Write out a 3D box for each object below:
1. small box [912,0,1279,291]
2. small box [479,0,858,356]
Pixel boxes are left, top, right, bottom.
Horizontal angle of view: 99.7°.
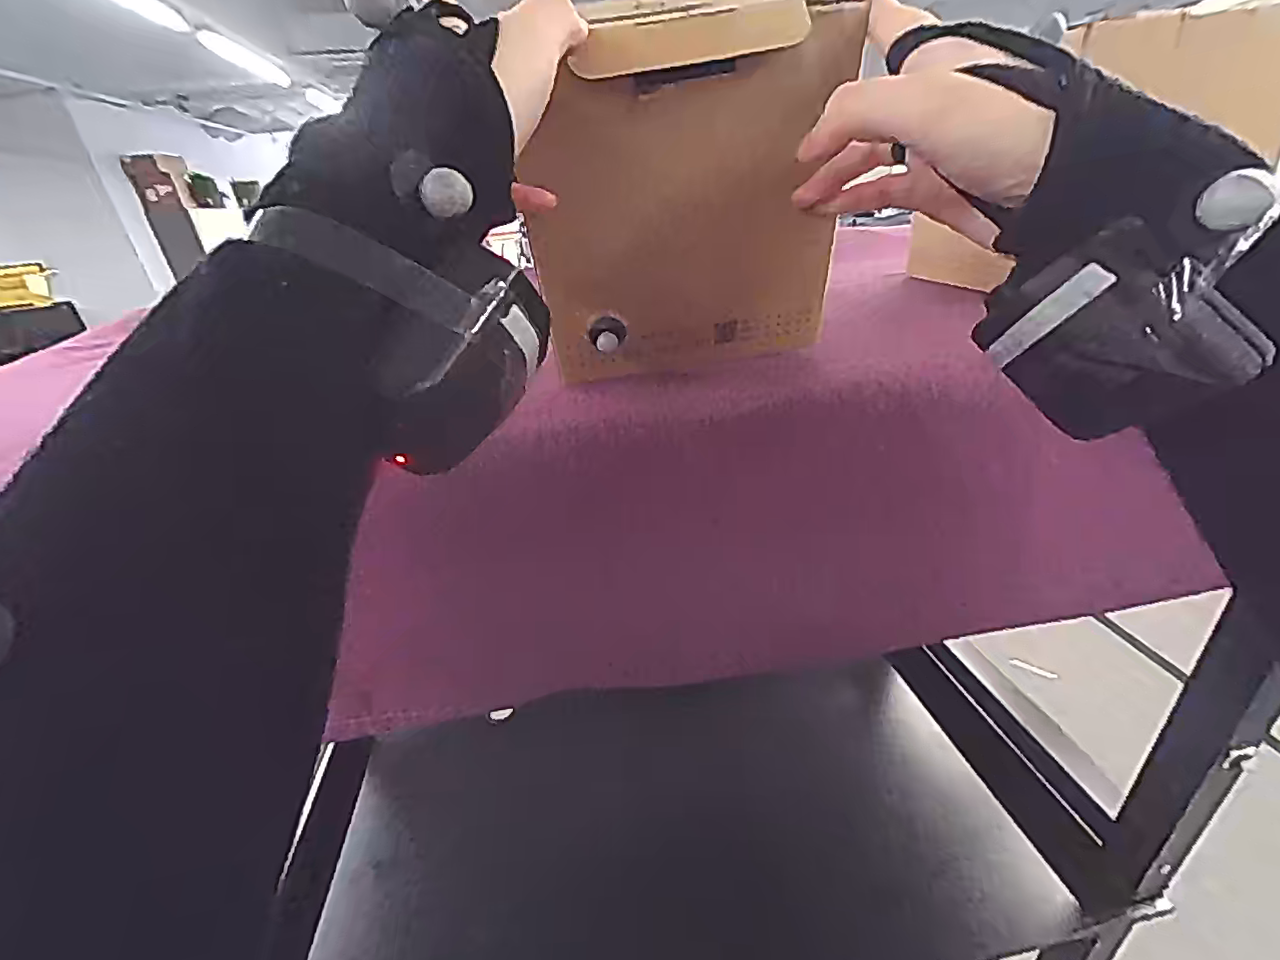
[{"bbox_3d":[0.345,-0.254,0.435,0.168,0.176,0.179,-8,27,-2],"label":"small box"},{"bbox_3d":[0.009,-0.189,0.337,0.168,0.176,0.179,-9,42,-3],"label":"small box"}]
